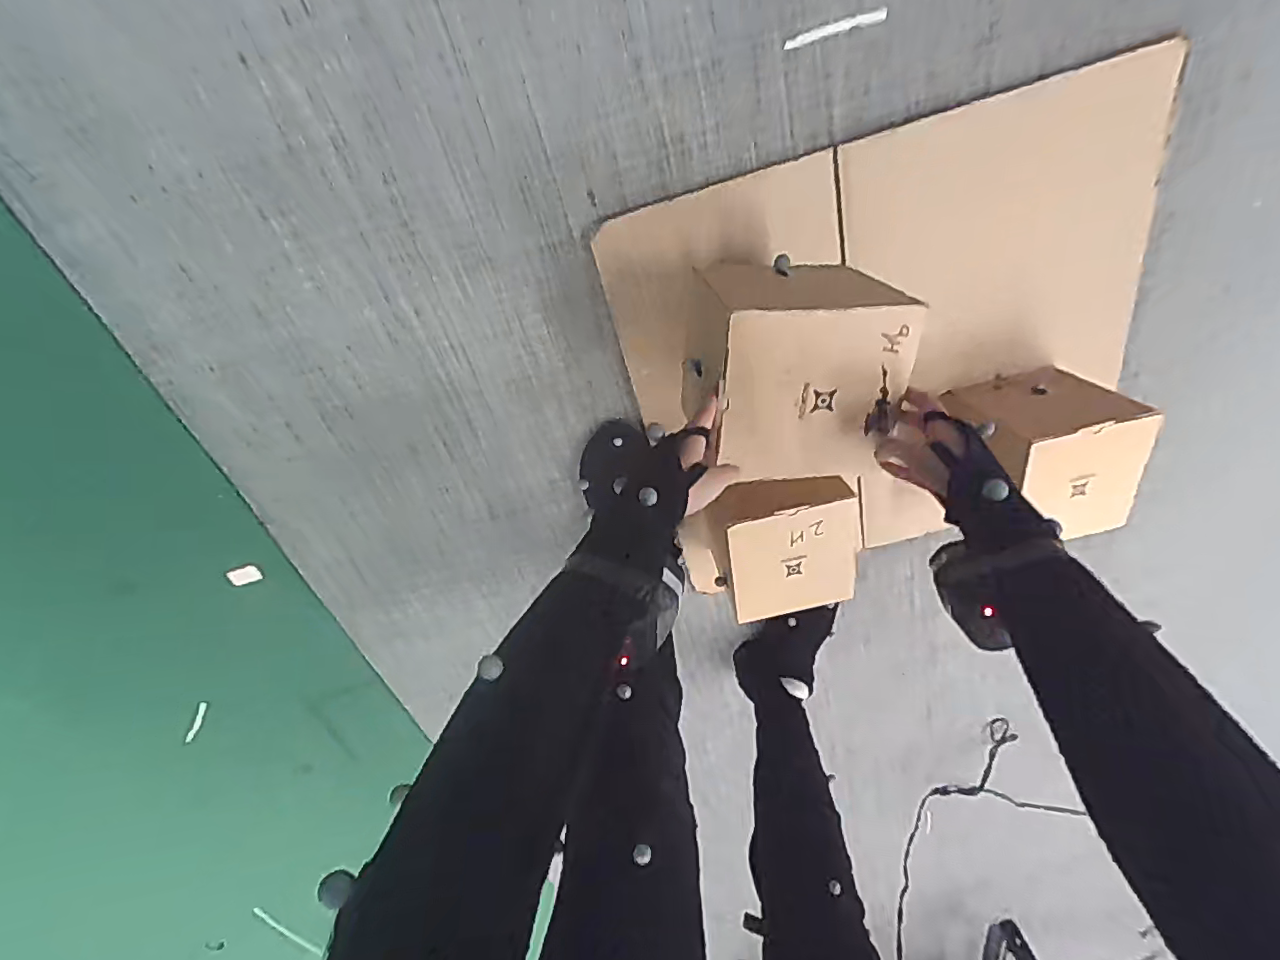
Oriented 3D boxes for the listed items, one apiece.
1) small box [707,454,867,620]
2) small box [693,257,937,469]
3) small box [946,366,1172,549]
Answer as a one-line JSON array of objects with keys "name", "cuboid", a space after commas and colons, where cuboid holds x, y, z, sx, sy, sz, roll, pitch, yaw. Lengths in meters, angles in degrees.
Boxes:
[{"name": "small box", "cuboid": [0.197, 0.062, 0.760, 0.168, 0.176, 0.179, -12, 121, -1]}, {"name": "small box", "cuboid": [0.153, -0.124, 0.551, 0.179, 0.176, 0.168, -3, 123, -5]}, {"name": "small box", "cuboid": [0.555, -0.036, 0.748, 0.168, 0.176, 0.179, -13, 120, 0]}]
